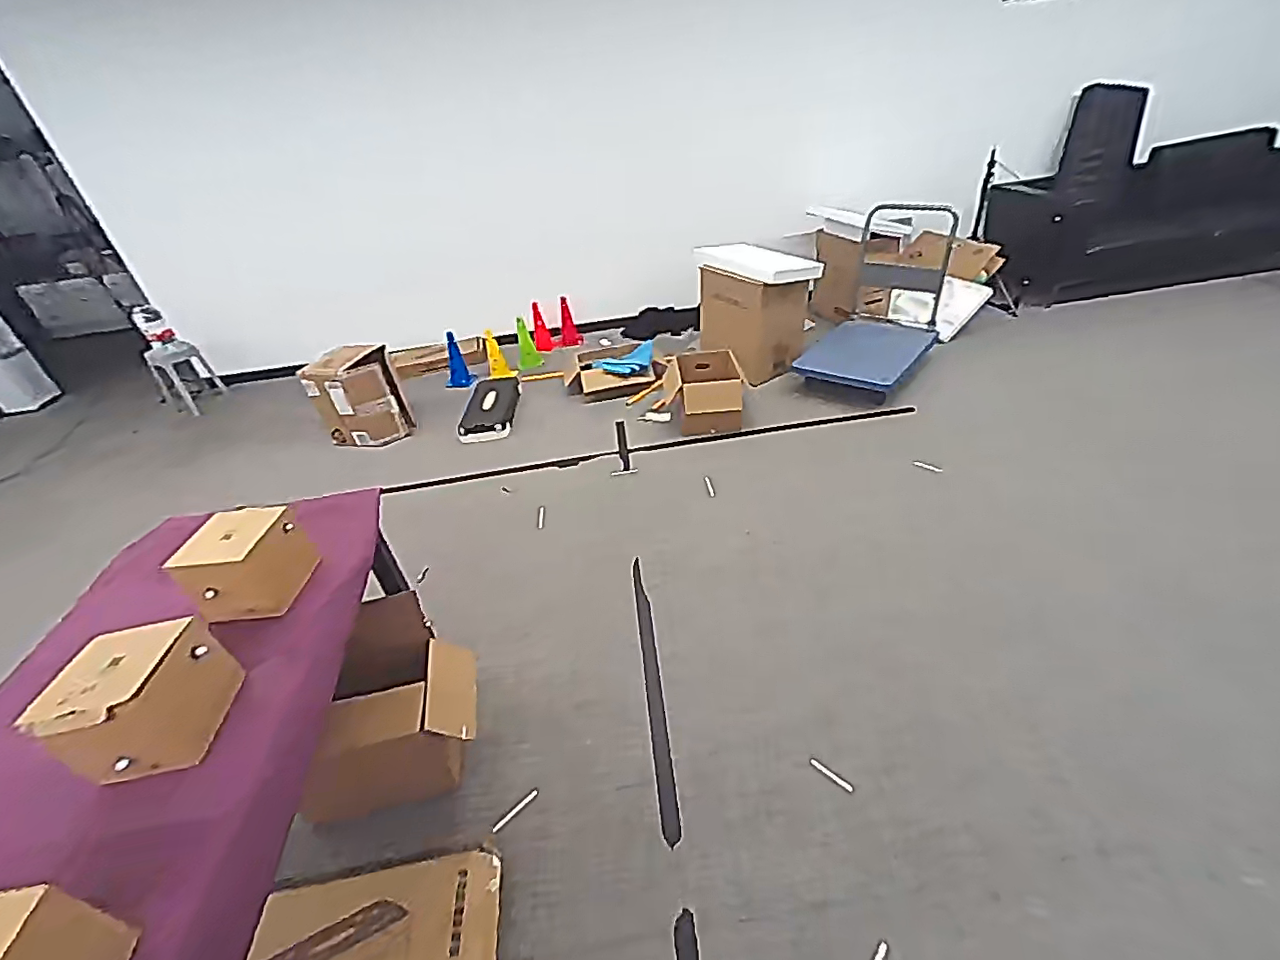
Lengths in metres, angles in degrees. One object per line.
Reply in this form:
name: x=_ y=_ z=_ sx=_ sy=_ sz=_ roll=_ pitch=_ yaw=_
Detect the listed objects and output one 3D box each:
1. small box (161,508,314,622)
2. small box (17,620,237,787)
small box: x=-0.838 y=0.185 z=1.152 sx=0.168 sy=0.176 sz=0.179 roll=-6 pitch=35 yaw=2
small box: x=-0.814 y=0.365 z=0.890 sx=0.168 sy=0.176 sz=0.179 roll=-12 pitch=35 yaw=-2
